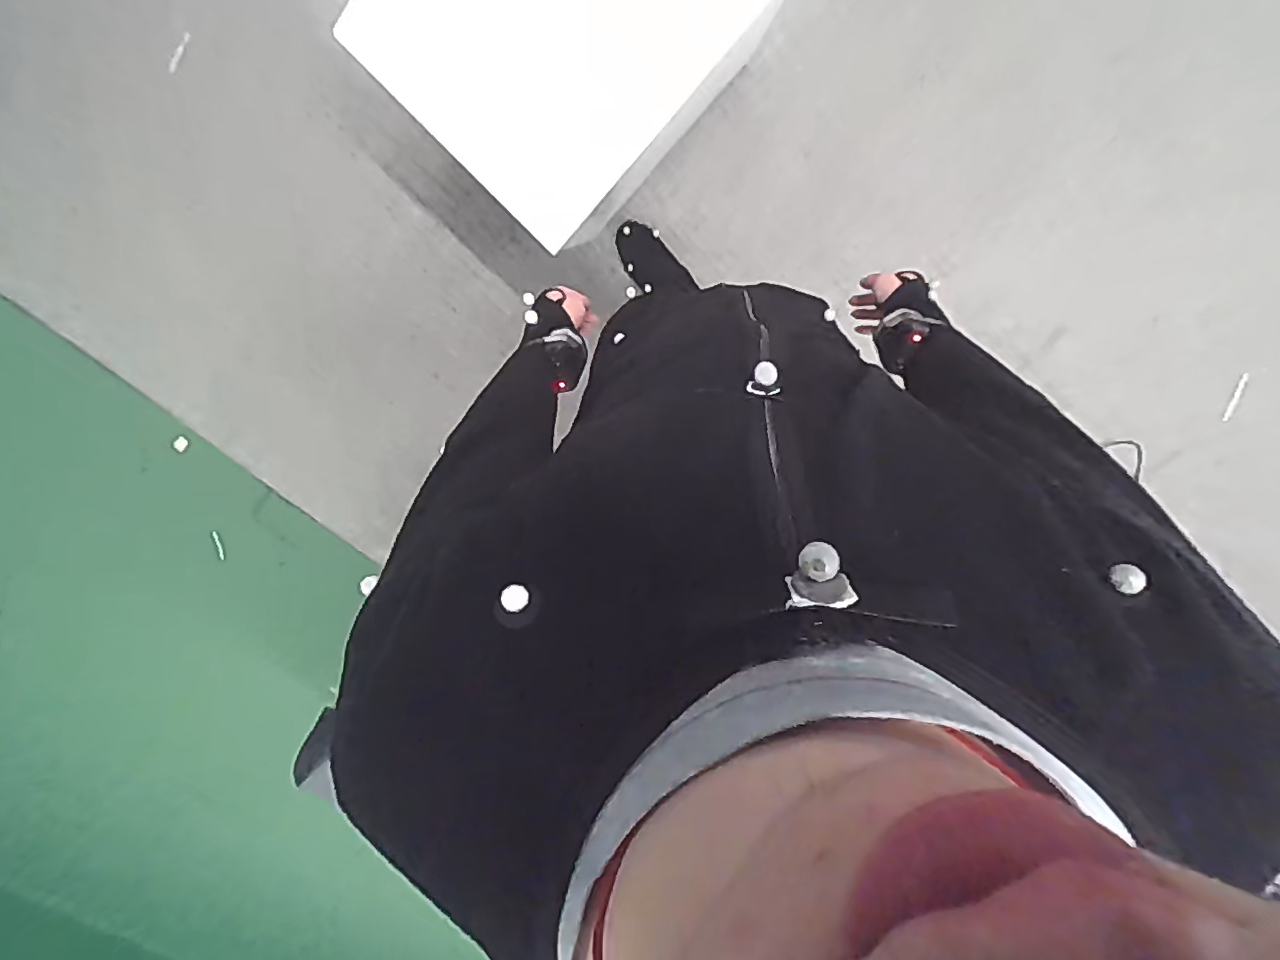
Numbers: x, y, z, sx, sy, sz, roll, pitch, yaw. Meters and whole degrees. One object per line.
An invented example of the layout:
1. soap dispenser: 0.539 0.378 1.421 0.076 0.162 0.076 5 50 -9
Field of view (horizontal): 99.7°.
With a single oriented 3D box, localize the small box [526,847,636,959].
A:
1. small box: -0.126 0.968 1.220 0.168 0.176 0.179 -42 109 19
